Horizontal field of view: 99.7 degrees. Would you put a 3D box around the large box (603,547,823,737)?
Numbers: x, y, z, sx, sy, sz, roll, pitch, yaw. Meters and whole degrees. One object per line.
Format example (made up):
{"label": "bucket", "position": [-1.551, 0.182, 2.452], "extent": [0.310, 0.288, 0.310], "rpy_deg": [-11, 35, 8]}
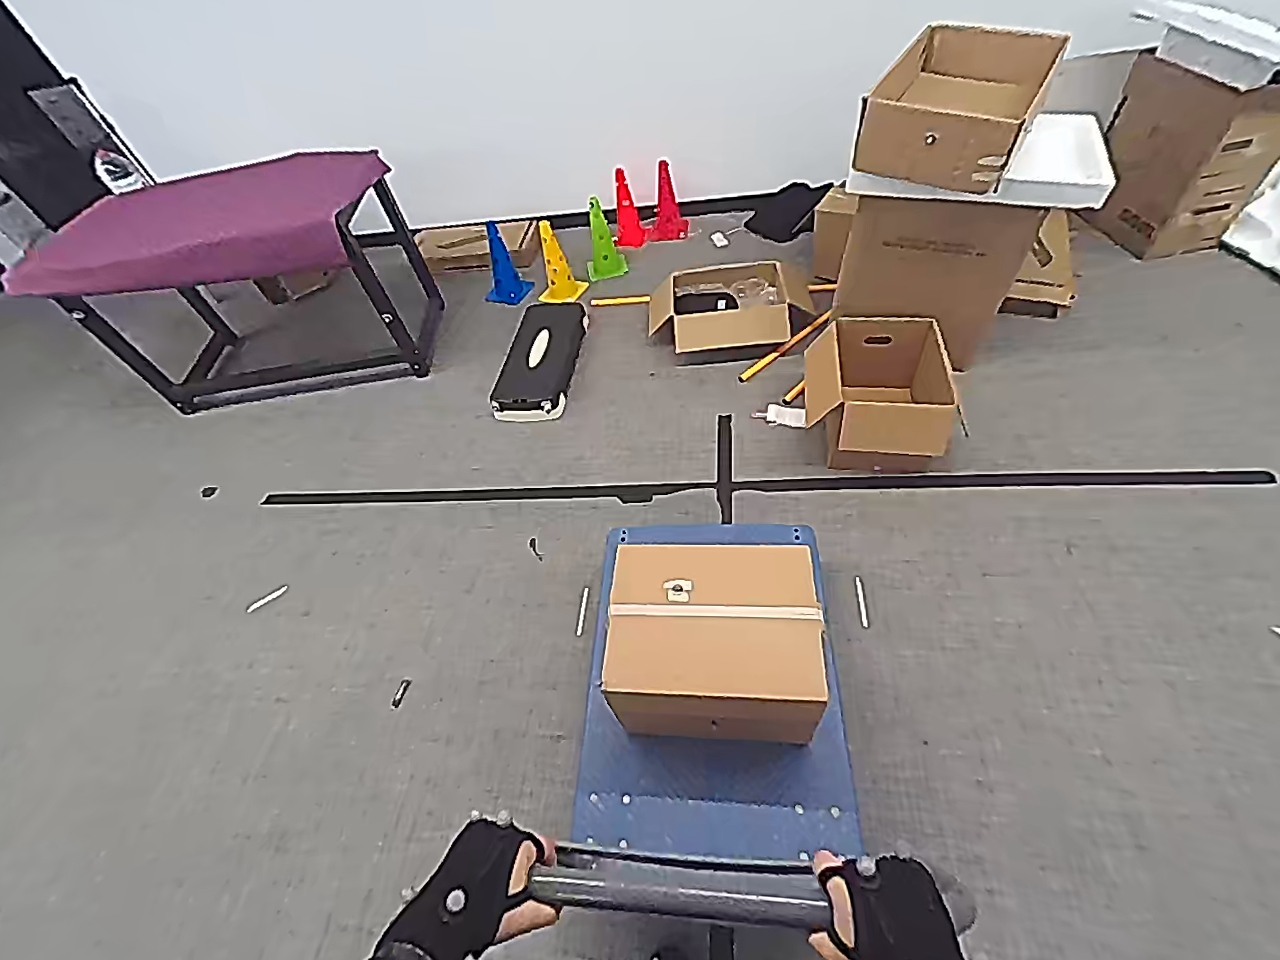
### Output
{"label": "large box", "position": [0.158, 0.360, 1.181], "extent": [0.408, 0.320, 0.320], "rpy_deg": [-2, 51, 9]}
